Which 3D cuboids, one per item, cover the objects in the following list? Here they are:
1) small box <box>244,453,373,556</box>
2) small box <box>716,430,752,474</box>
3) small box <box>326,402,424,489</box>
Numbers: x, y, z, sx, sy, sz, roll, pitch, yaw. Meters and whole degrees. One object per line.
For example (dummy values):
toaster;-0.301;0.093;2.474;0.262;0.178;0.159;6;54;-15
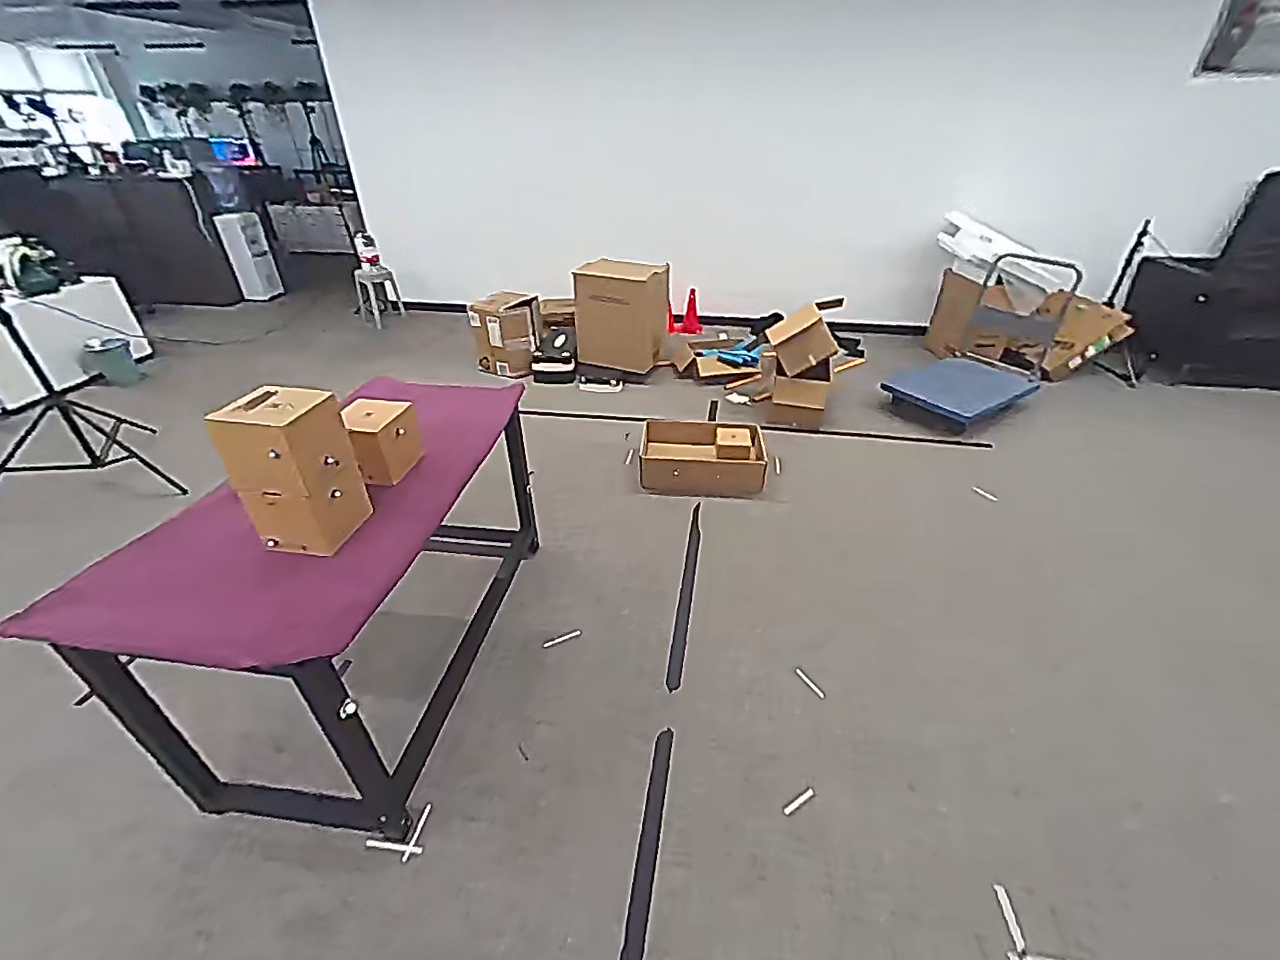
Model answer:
small box;-0.754;0.057;1.256;0.168;0.176;0.179;5;33;8
small box;0.479;-0.142;2.772;0.168;0.176;0.179;3;33;5
small box;-0.718;-0.098;1.493;0.168;0.176;0.179;5;34;8
